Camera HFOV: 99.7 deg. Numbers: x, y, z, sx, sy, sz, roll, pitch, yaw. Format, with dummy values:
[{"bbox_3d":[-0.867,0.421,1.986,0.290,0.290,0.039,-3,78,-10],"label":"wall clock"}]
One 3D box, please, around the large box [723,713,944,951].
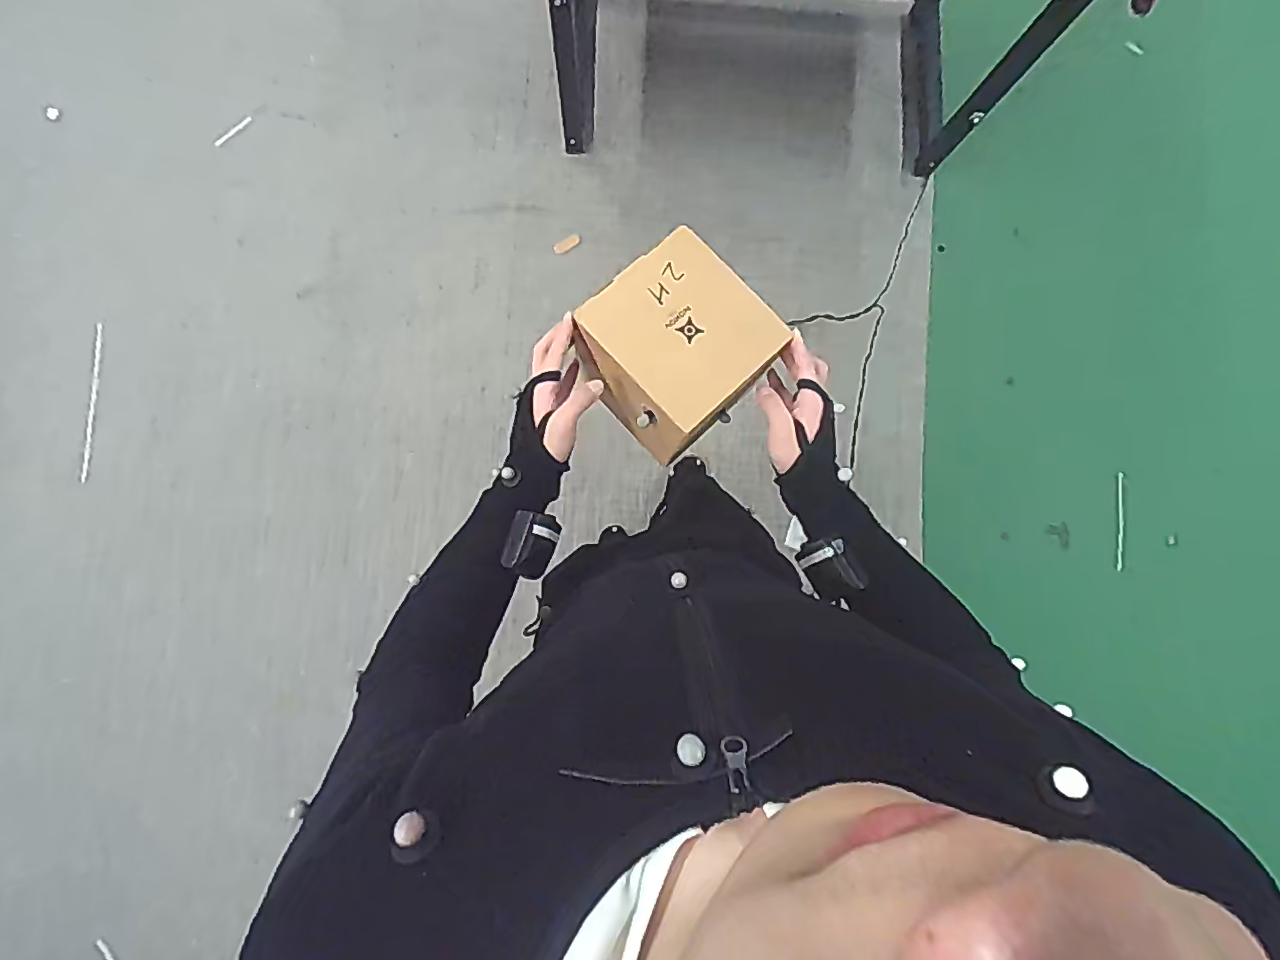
[{"bbox_3d":[0.494,0.913,1.463,0.408,0.320,0.320,-29,89,-6],"label":"large box"}]
